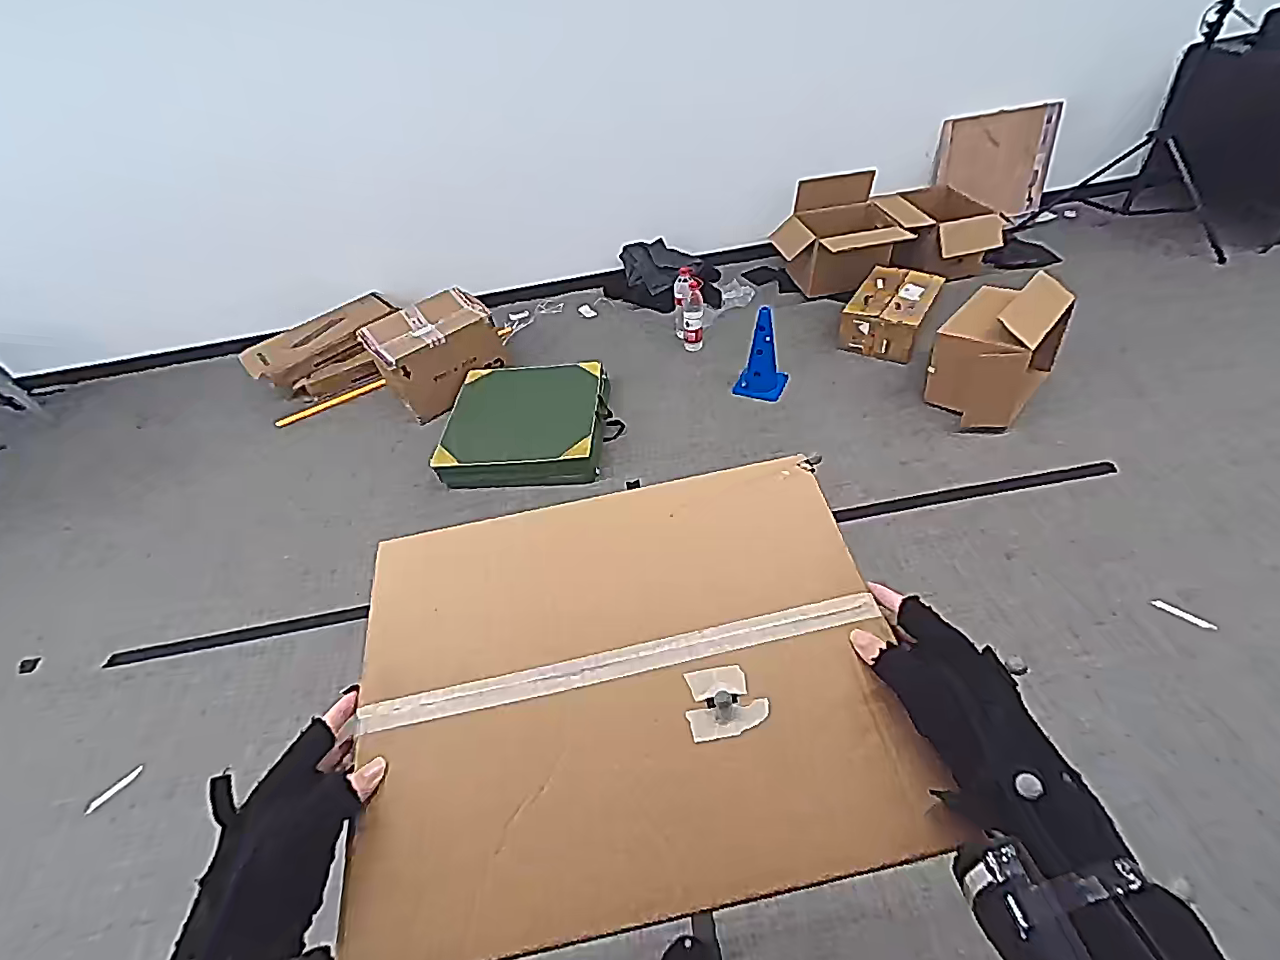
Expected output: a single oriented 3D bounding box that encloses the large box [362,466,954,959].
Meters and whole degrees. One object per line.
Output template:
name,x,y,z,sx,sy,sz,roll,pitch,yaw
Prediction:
large box,0.000,0.234,0.554,0.408,0.320,0.320,-12,55,-2
